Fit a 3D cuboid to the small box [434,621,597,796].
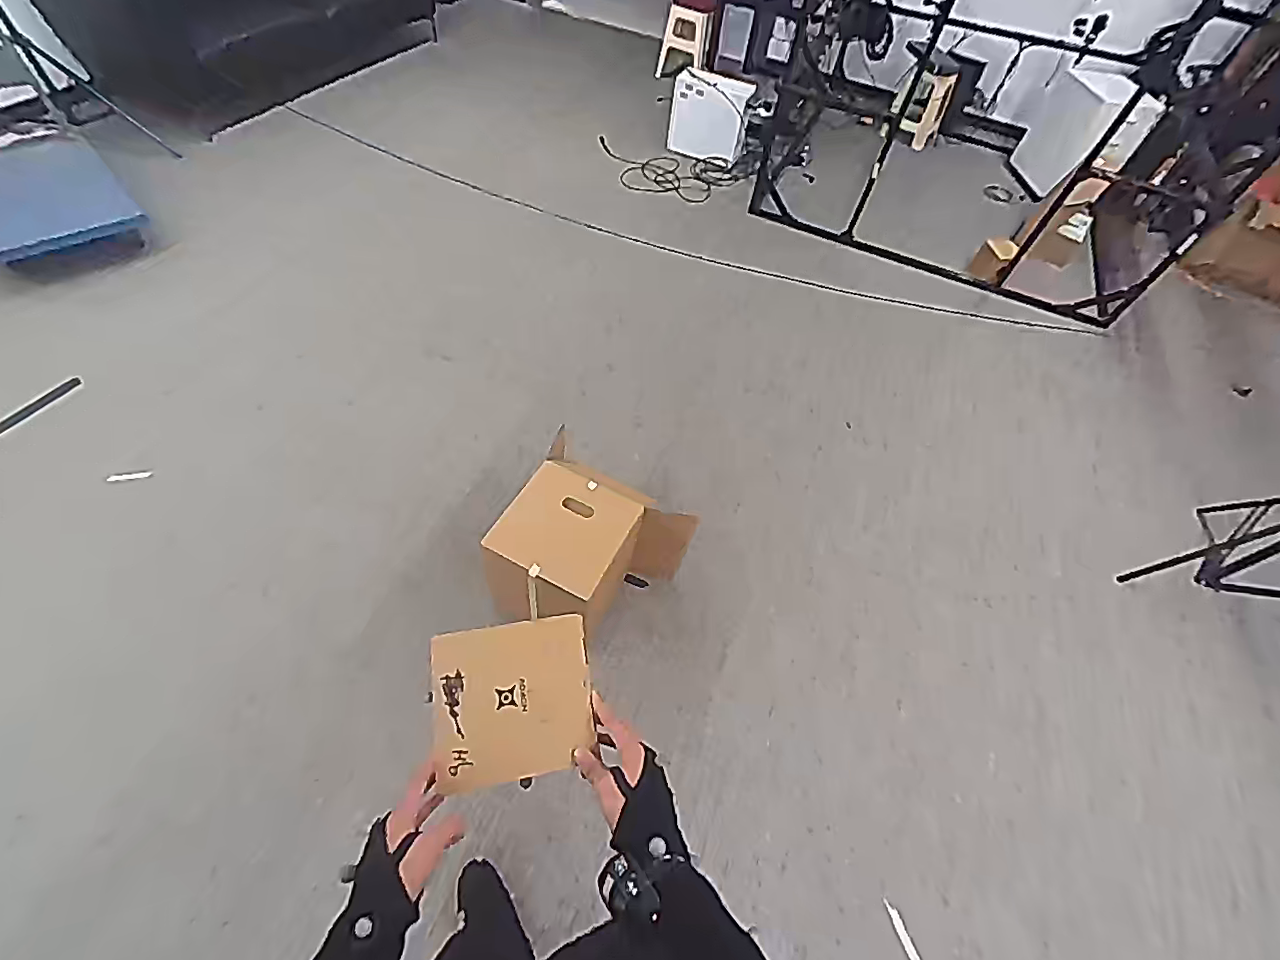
[{"bbox_3d":[-0.157,0.285,0.689,0.179,0.176,0.168,-5,67,-12],"label":"small box"}]
